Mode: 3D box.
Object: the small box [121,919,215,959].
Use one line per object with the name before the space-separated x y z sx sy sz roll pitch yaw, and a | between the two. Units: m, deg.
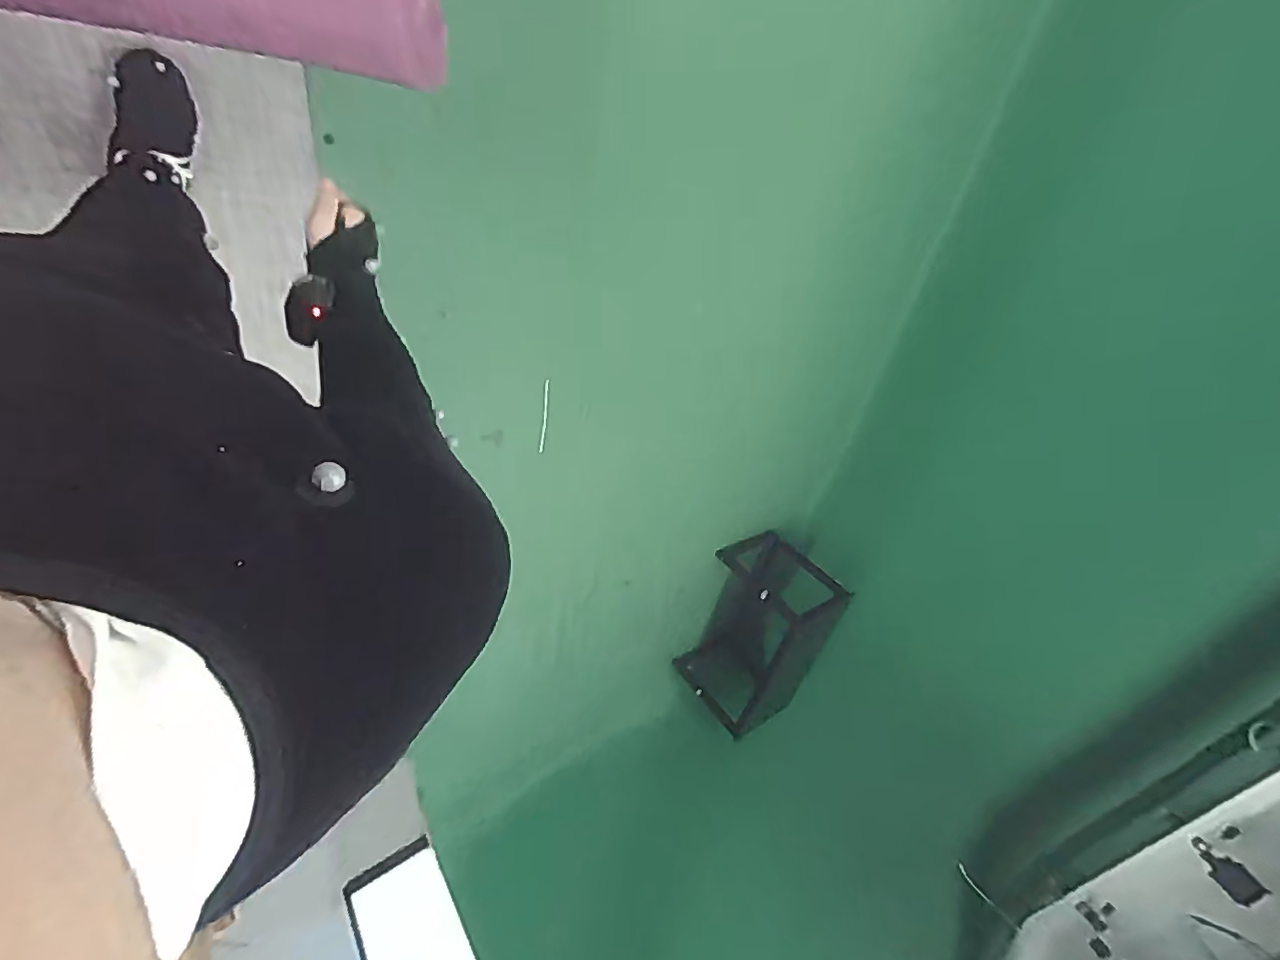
small box | -1.317 1.383 1.512 0.168 0.176 0.179 -18 134 -32
